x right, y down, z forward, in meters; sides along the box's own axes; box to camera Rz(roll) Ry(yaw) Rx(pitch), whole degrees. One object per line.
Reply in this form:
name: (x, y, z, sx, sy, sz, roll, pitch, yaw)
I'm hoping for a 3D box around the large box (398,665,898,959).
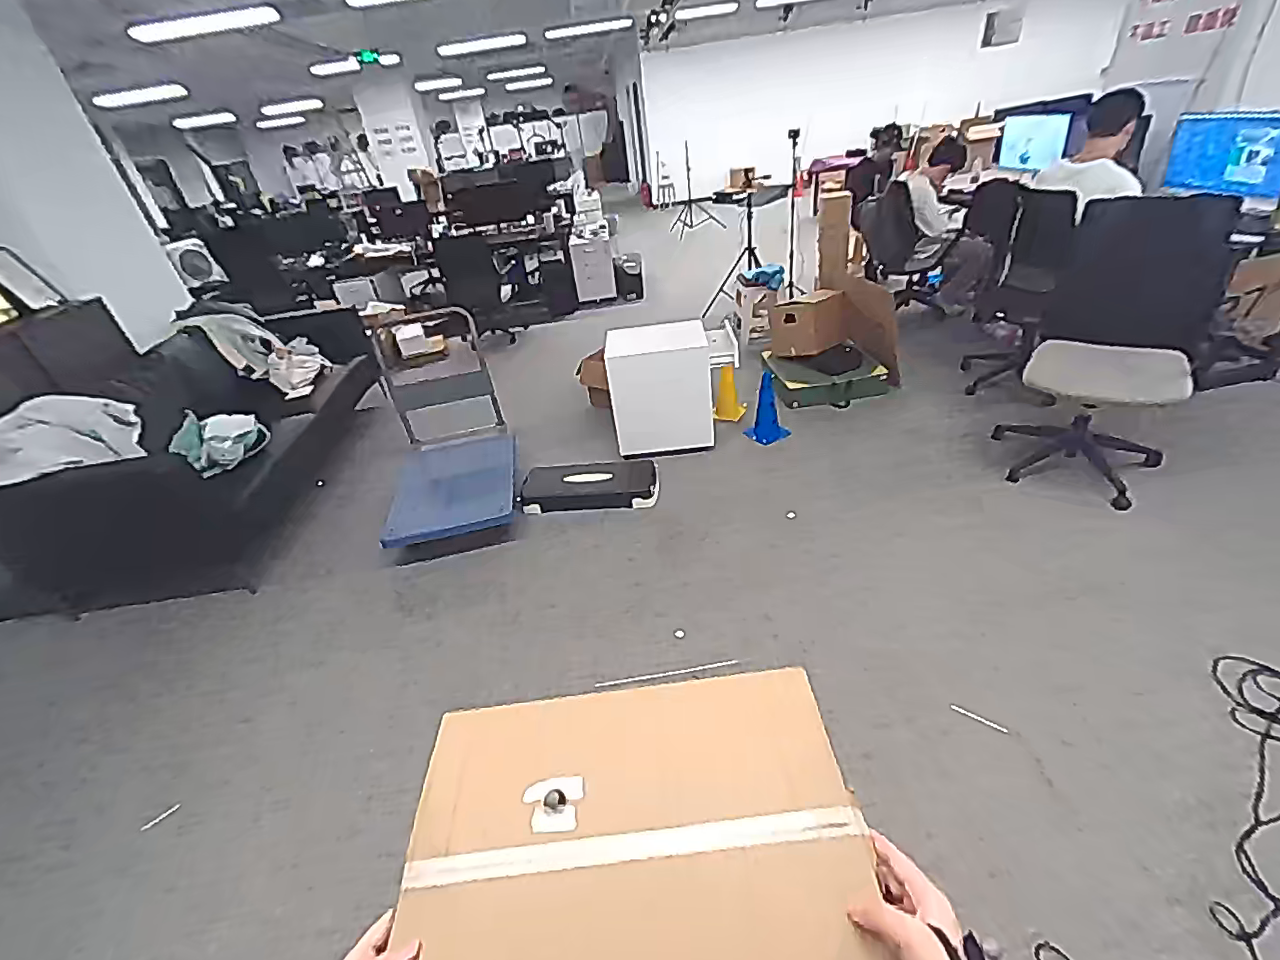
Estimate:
large box: (0.017, 0.446, 0.579, 0.408, 0.320, 0.320, -10, 37, 3)
